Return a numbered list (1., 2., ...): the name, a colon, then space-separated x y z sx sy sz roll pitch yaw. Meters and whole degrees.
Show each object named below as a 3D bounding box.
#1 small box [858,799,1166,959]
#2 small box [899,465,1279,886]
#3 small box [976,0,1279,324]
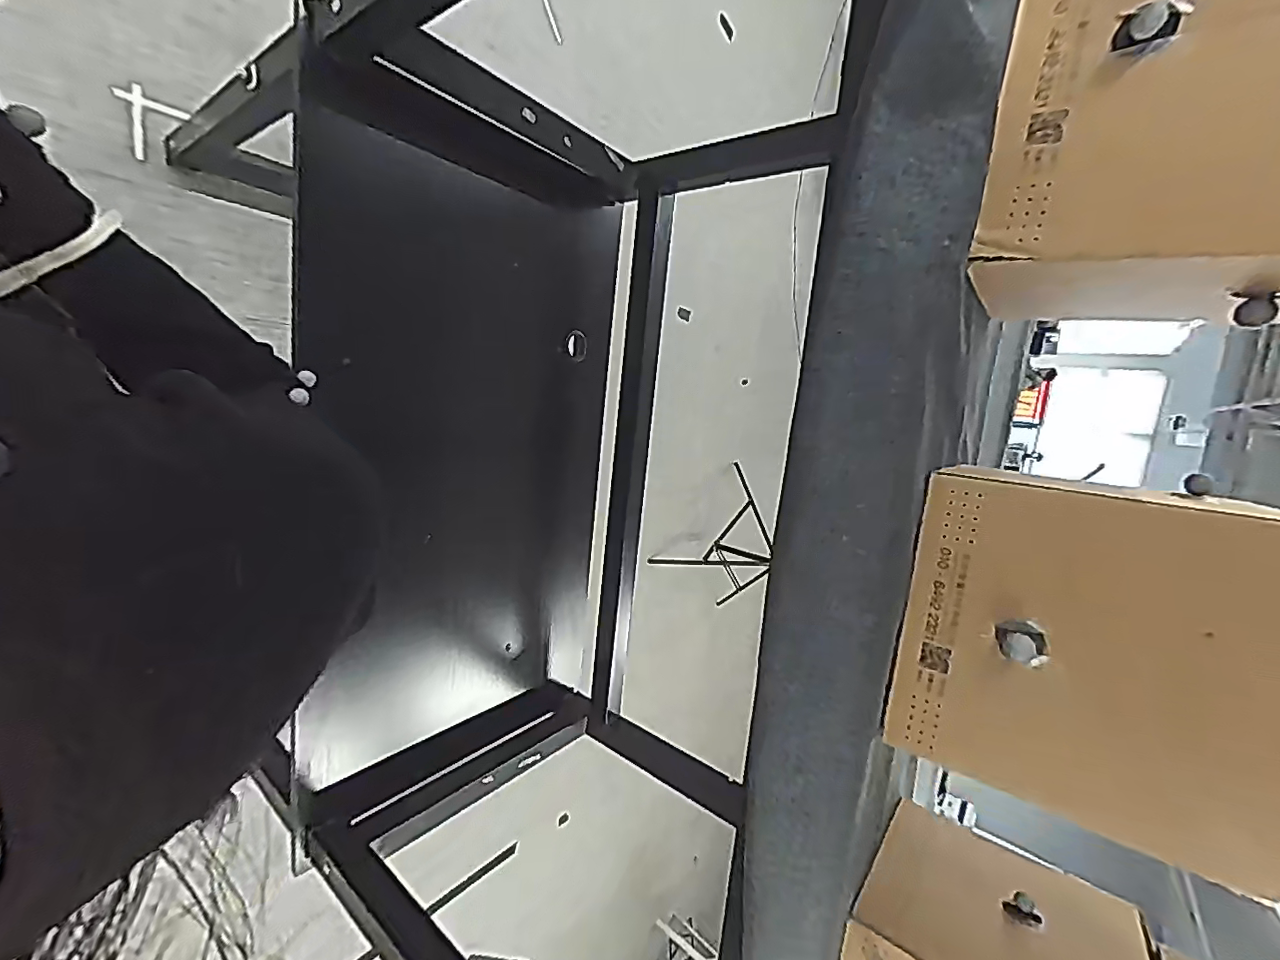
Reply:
1. small box: 0.251 0.378 0.387 0.179 0.176 0.168 1 99 -55
2. small box: 0.278 0.083 0.338 0.179 0.176 0.168 -5 103 -54
3. small box: 0.302 -0.185 0.296 0.179 0.176 0.168 -7 107 -53
